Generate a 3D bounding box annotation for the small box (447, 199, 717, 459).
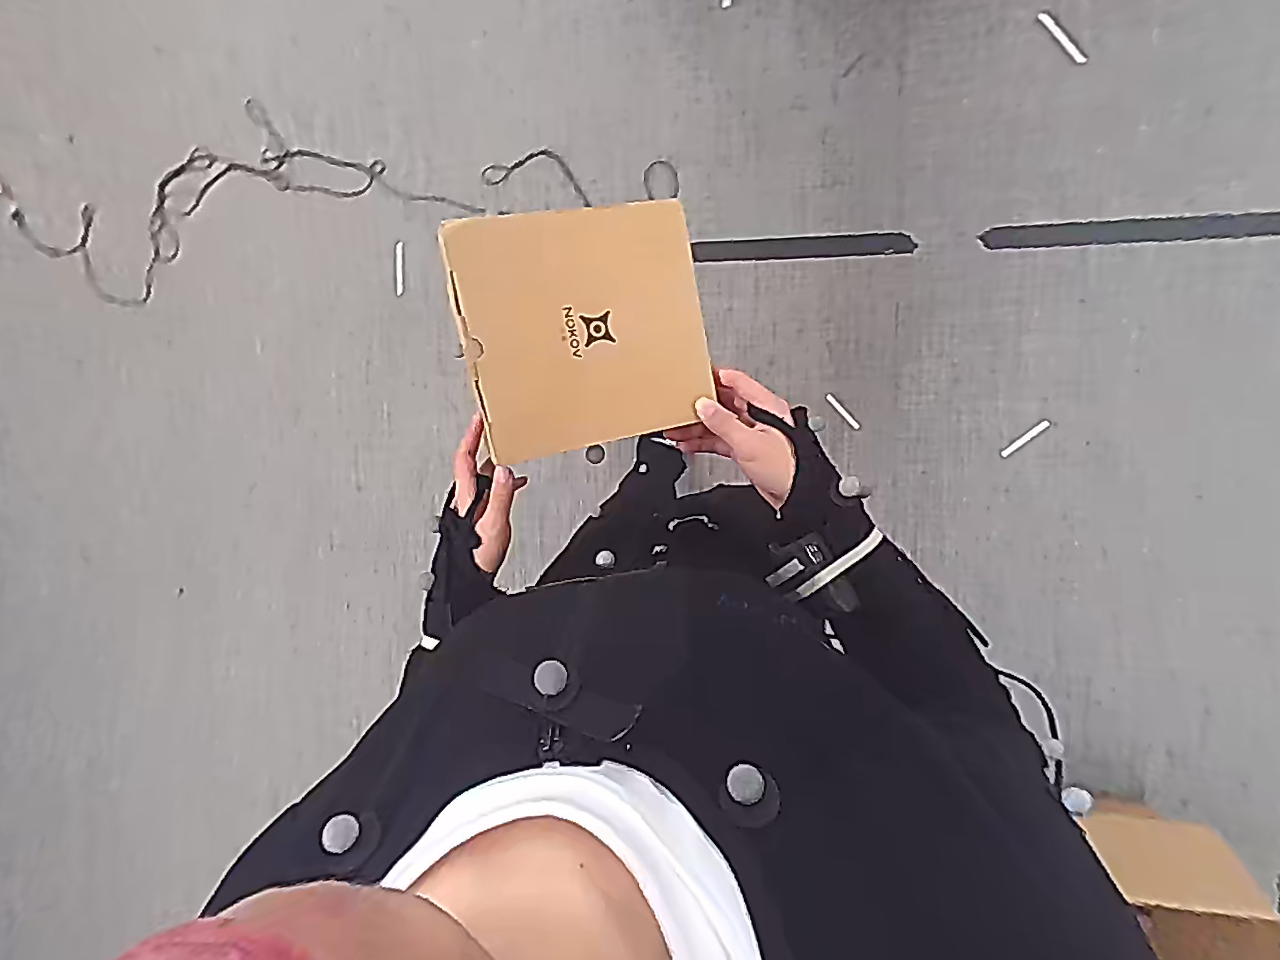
[{"bbox_3d":[-0.057,-0.120,0.466,0.179,0.176,0.168,-13,99,-14],"label":"small box"}]
